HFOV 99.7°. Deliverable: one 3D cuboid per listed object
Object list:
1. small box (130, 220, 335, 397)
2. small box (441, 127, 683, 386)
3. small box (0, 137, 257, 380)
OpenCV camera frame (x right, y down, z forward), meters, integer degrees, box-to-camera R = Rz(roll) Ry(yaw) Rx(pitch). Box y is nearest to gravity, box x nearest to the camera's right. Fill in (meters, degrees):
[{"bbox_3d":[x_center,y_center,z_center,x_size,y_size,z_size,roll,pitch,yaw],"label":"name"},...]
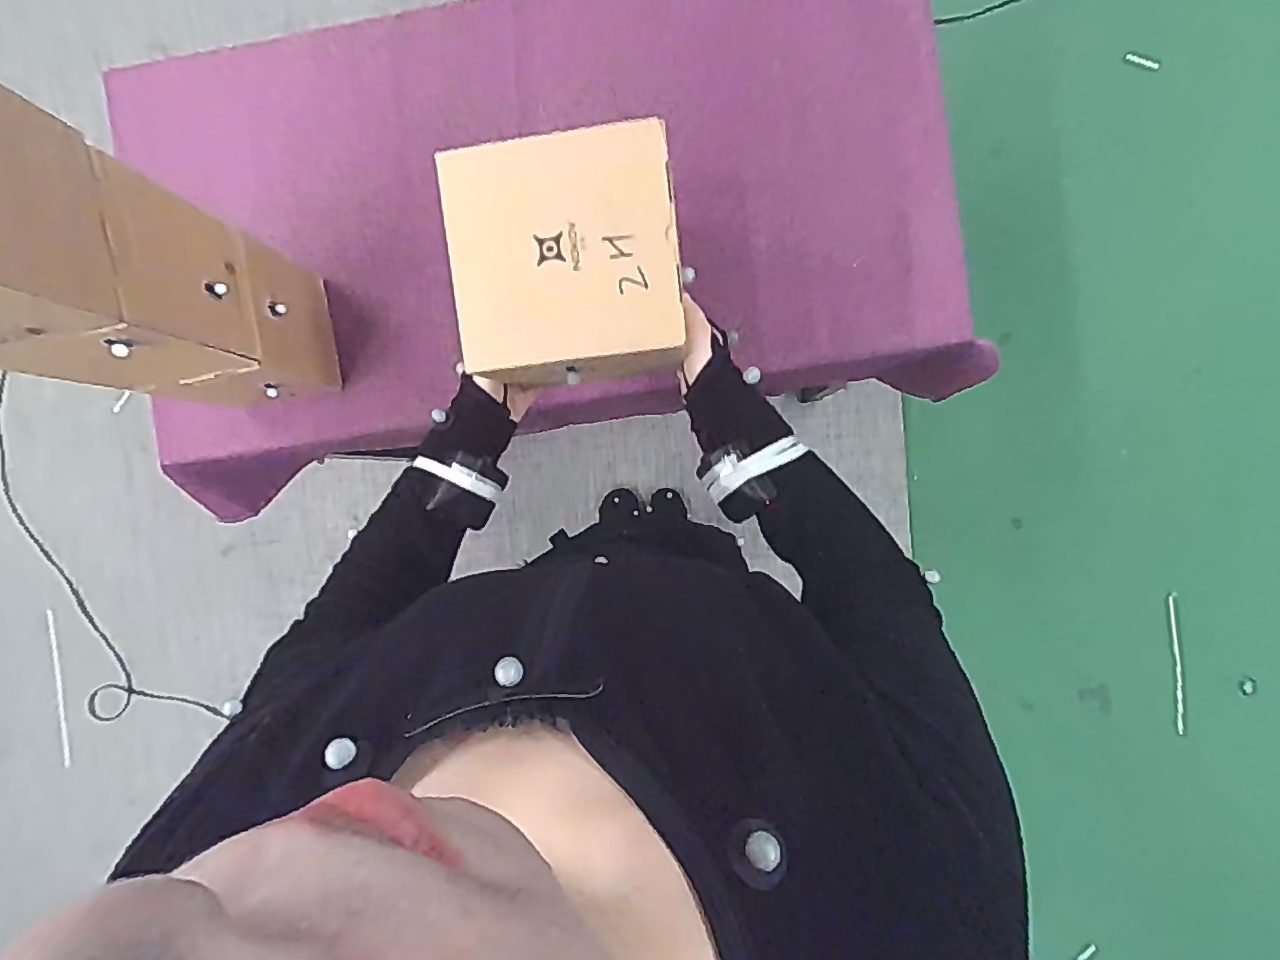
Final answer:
[{"bbox_3d":[-0.541,-0.212,0.724,0.168,0.176,0.179,-9,90,2],"label":"small box"},{"bbox_3d":[-0.053,-0.180,0.489,0.179,0.176,0.168,-5,96,4],"label":"small box"},{"bbox_3d":[-0.552,-0.210,0.562,0.179,0.176,0.168,-11,91,1],"label":"small box"}]
